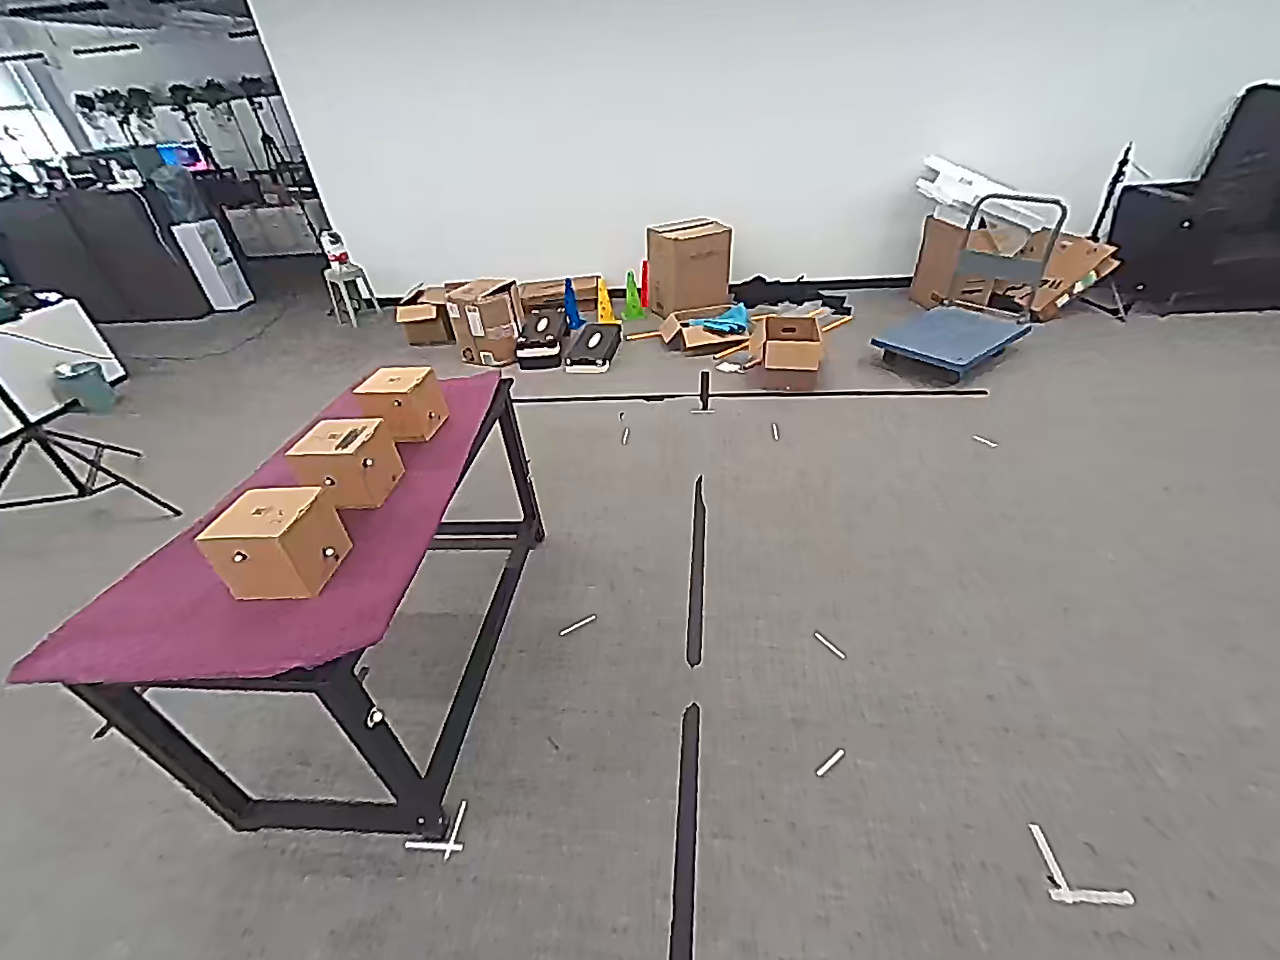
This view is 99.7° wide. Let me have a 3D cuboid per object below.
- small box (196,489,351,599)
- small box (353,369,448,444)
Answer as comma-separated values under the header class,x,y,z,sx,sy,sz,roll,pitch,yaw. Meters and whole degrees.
class,x,y,z,sx,sy,sz,roll,pitch,yaw
small box,-0.750,0.135,1.129,0.179,0.176,0.168,-2,35,4
small box,-0.707,-0.218,1.616,0.179,0.176,0.168,1,36,9
